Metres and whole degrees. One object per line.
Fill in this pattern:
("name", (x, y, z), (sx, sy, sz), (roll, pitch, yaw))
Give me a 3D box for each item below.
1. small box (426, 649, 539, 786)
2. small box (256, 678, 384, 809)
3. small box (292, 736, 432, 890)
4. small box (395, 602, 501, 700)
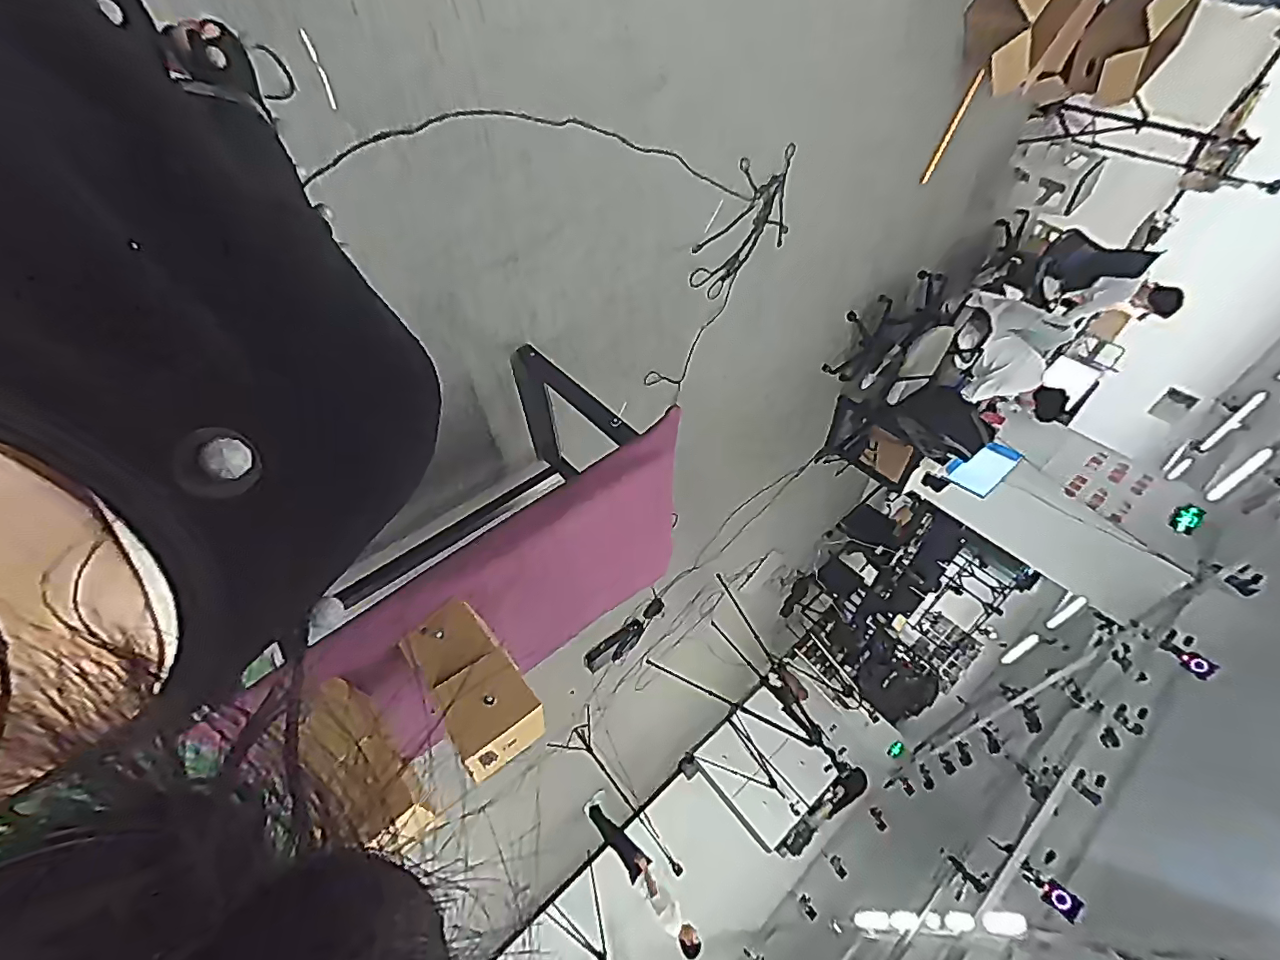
("small box", (-0.337, 0.502, 1.155), (0.179, 0.176, 0.168), (-29, 146, -31))
("small box", (-0.658, 0.551, 1.123), (0.179, 0.176, 0.168), (-36, 148, -21))
("small box", (-0.542, 0.643, 1.052), (0.179, 0.176, 0.168), (-34, 147, -26))
("small box", (-0.432, 0.414, 1.261), (0.168, 0.176, 0.179), (-38, 149, -19))
